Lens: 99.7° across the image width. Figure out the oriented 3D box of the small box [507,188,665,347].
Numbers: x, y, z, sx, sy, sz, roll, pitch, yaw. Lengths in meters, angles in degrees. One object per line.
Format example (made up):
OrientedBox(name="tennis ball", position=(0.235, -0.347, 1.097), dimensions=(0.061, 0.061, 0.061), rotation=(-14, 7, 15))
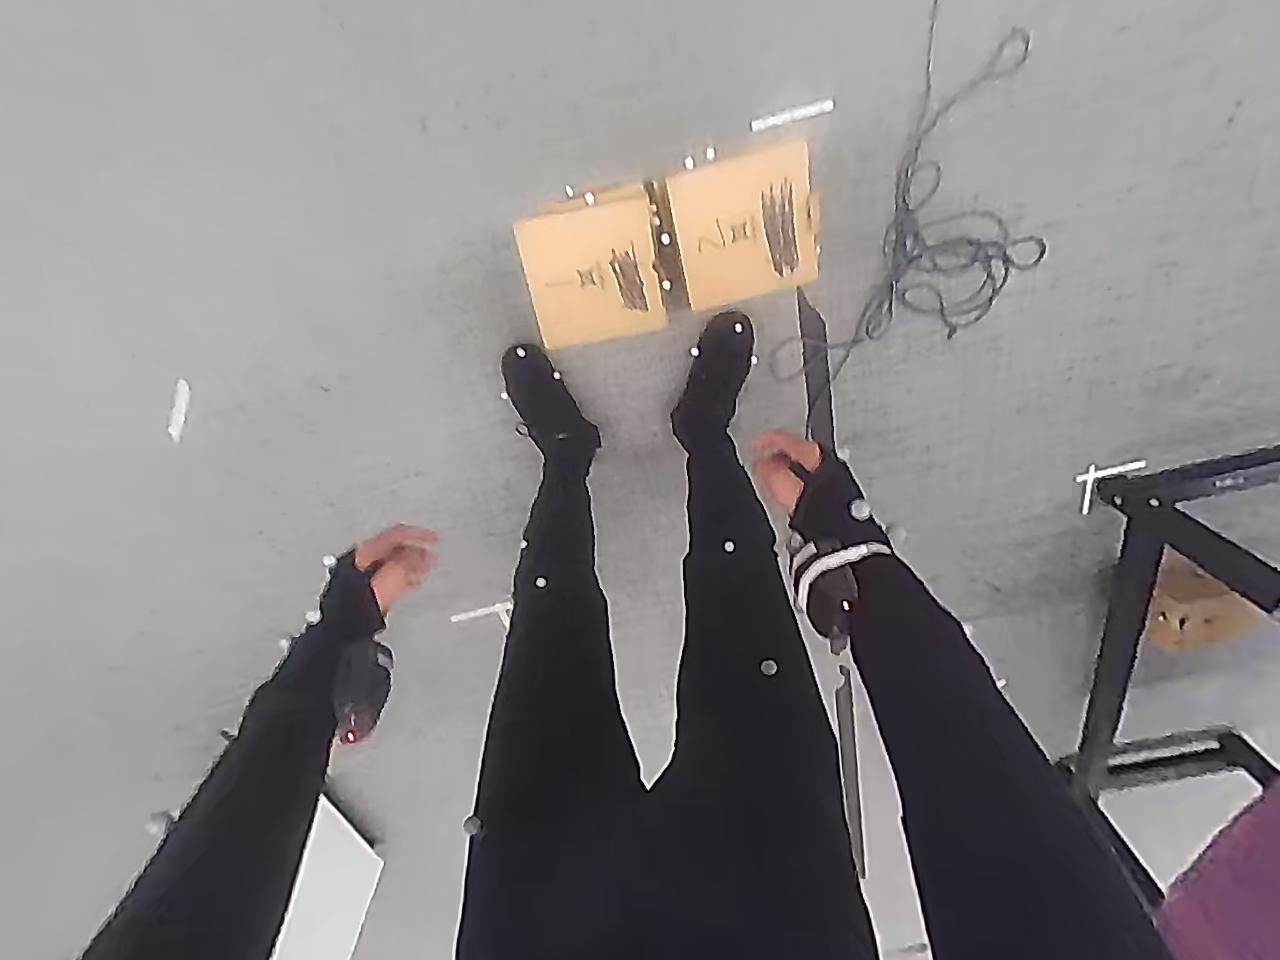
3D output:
OrientedBox(name="small box", position=(-0.064, -0.303, 0.761), dimensions=(0.179, 0.176, 0.168), rotation=(-8, 119, 7))
